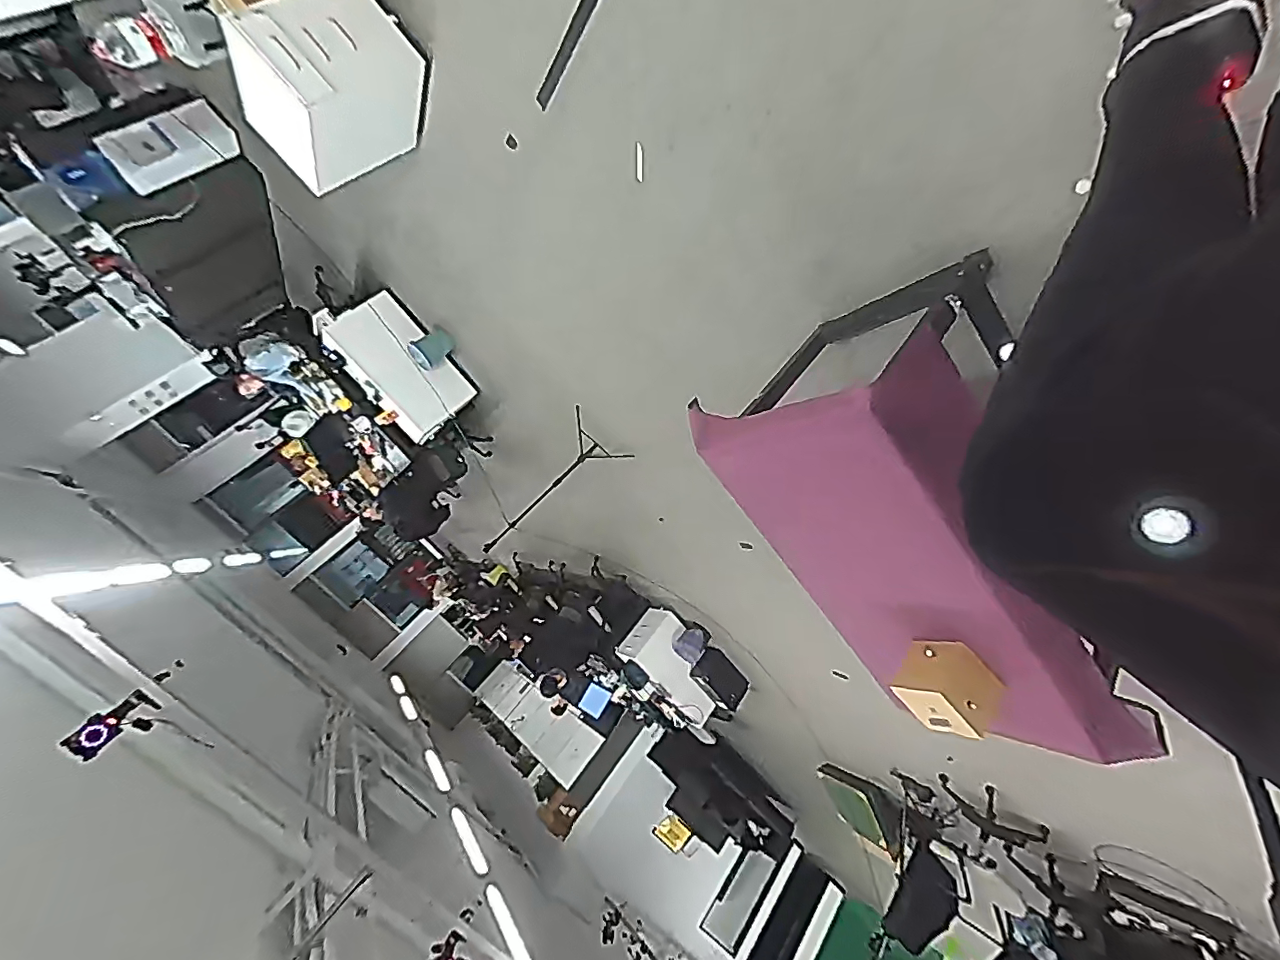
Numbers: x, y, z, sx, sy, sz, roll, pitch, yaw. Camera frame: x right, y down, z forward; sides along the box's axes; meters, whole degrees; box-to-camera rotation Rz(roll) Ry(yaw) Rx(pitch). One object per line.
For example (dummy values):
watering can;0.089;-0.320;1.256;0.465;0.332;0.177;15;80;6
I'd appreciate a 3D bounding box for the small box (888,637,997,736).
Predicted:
small box;0.829;0.556;1.475;0.179;0.176;0.168;46;154;-6
